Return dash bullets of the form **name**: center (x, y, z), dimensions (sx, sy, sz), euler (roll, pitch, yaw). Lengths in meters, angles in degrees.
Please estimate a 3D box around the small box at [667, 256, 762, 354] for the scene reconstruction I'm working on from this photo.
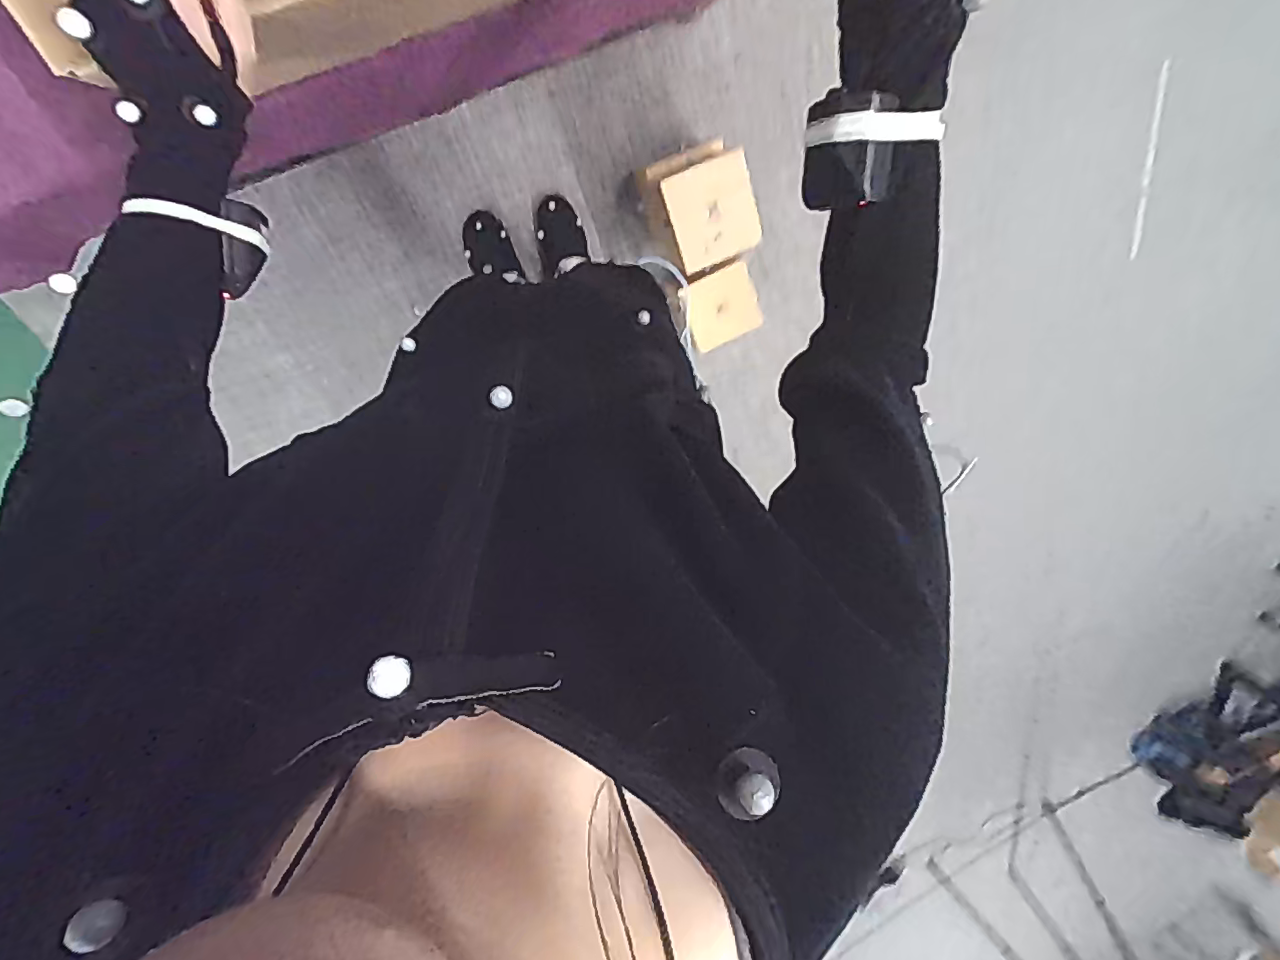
- **small box**: center (0.179, -0.444, 1.363), dimensions (0.179, 0.176, 0.168), euler (-26, 120, 2)

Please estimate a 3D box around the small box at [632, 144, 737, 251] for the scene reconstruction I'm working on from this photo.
- **small box**: center (0.098, -0.645, 1.233), dimensions (0.179, 0.176, 0.168), euler (-22, 121, 1)
